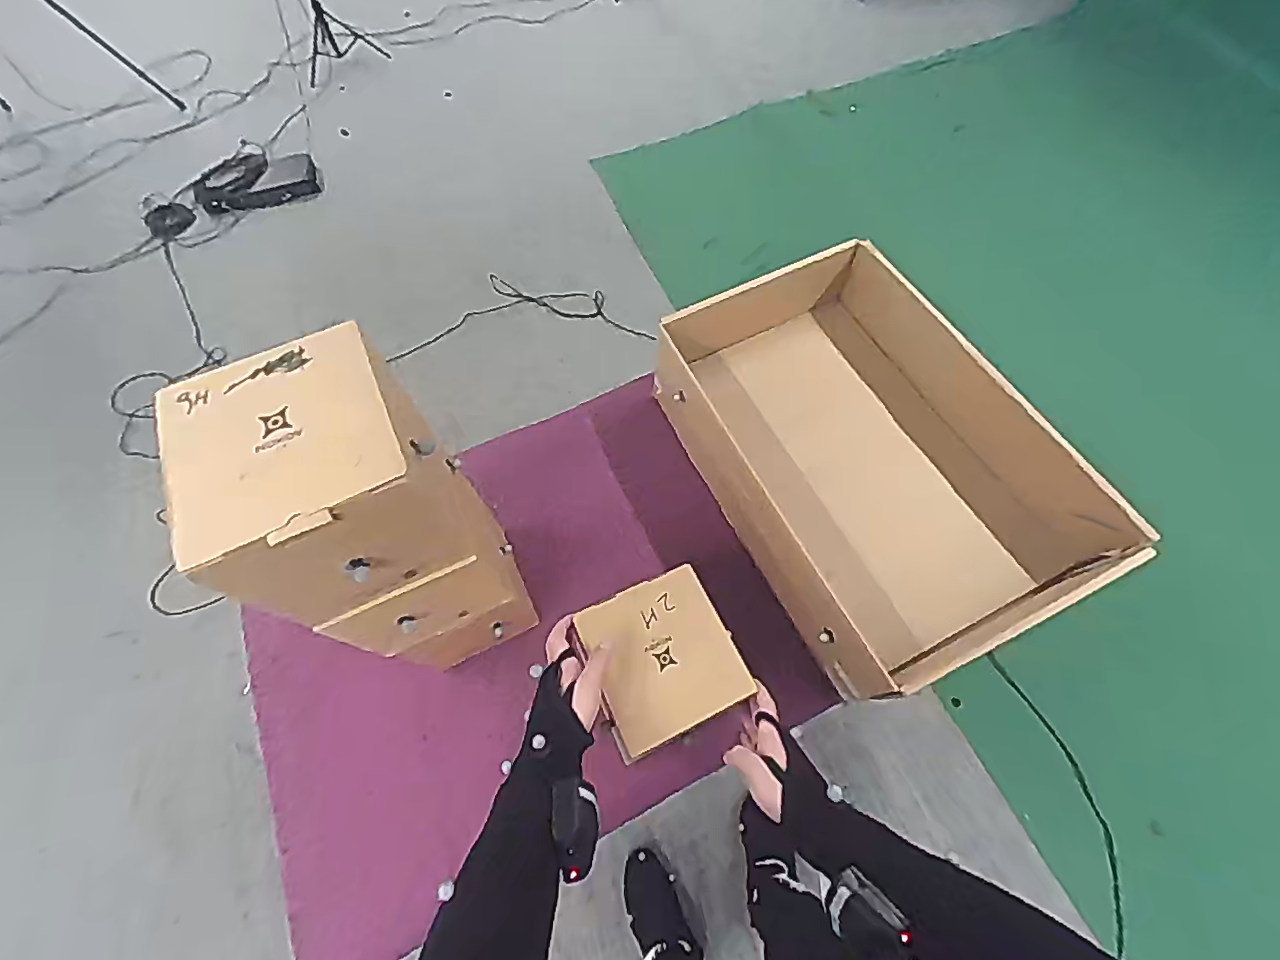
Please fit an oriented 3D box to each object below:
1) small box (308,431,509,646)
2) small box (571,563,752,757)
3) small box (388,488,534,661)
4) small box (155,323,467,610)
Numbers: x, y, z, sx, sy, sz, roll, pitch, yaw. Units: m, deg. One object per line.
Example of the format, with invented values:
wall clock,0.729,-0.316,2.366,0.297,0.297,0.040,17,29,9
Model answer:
small box,-0.271,0.078,0.633,0.168,0.176,0.179,-24,65,-10
small box,0.020,0.240,0.710,0.168,0.176,0.179,-21,64,-15
small box,-0.267,0.145,0.779,0.168,0.176,0.179,-24,65,-10
small box,-0.277,0.001,0.487,0.168,0.176,0.179,-25,66,-11
